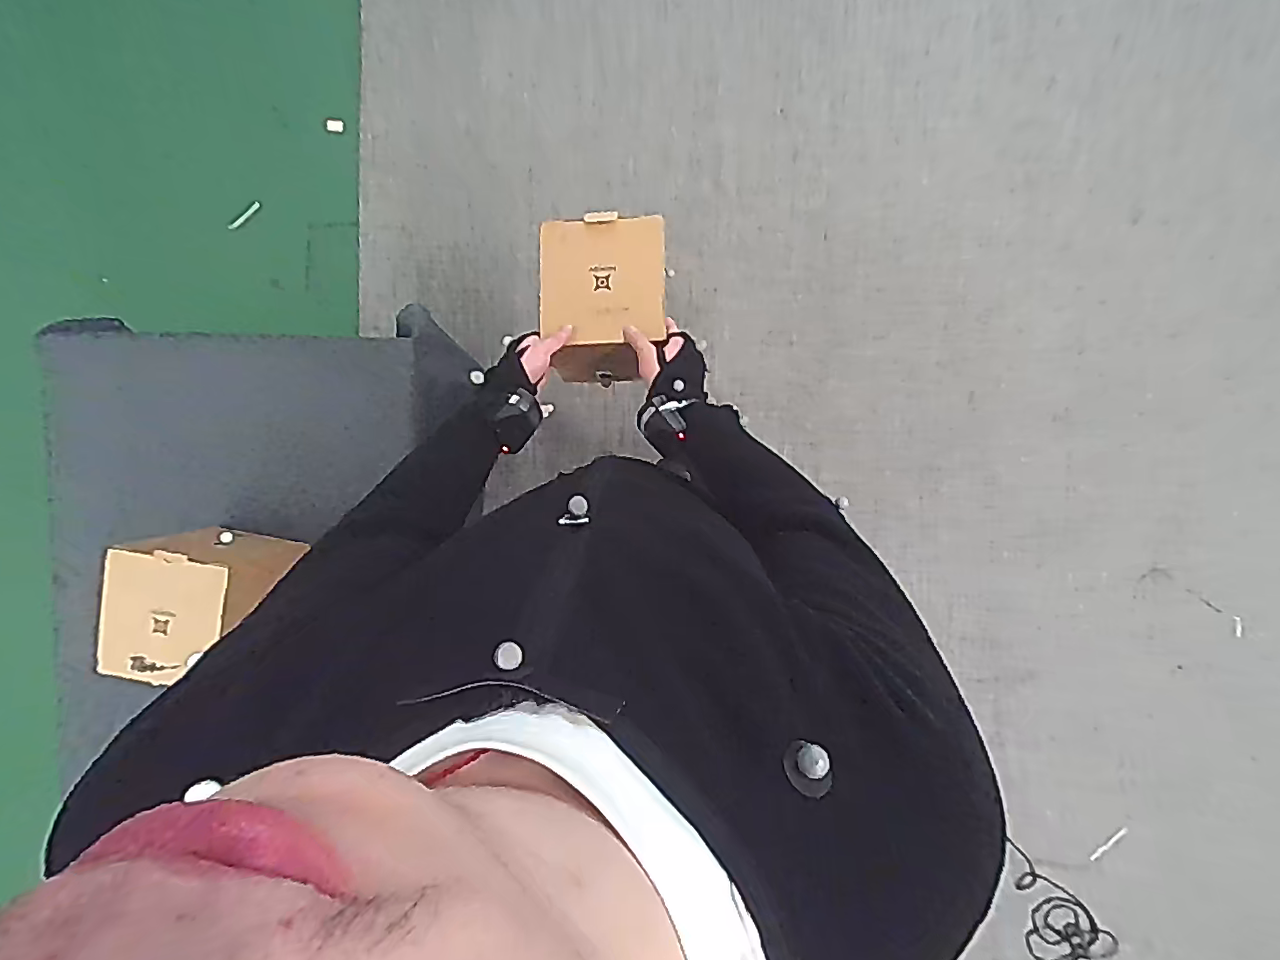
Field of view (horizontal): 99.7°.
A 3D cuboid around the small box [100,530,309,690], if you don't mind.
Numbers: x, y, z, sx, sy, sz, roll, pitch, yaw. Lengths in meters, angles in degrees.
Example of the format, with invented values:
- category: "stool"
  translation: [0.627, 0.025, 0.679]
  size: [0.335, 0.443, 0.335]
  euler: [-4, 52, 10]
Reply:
- category: "small box"
  translation: [-0.623, 0.177, 0.796]
  size: [0.168, 0.176, 0.179]
  euler: [10, 93, 1]

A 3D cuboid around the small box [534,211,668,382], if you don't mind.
- category: "small box"
  translation: [-0.046, -0.250, 0.767]
  size: [0.168, 0.176, 0.179]
  euler: [0, 83, 4]
